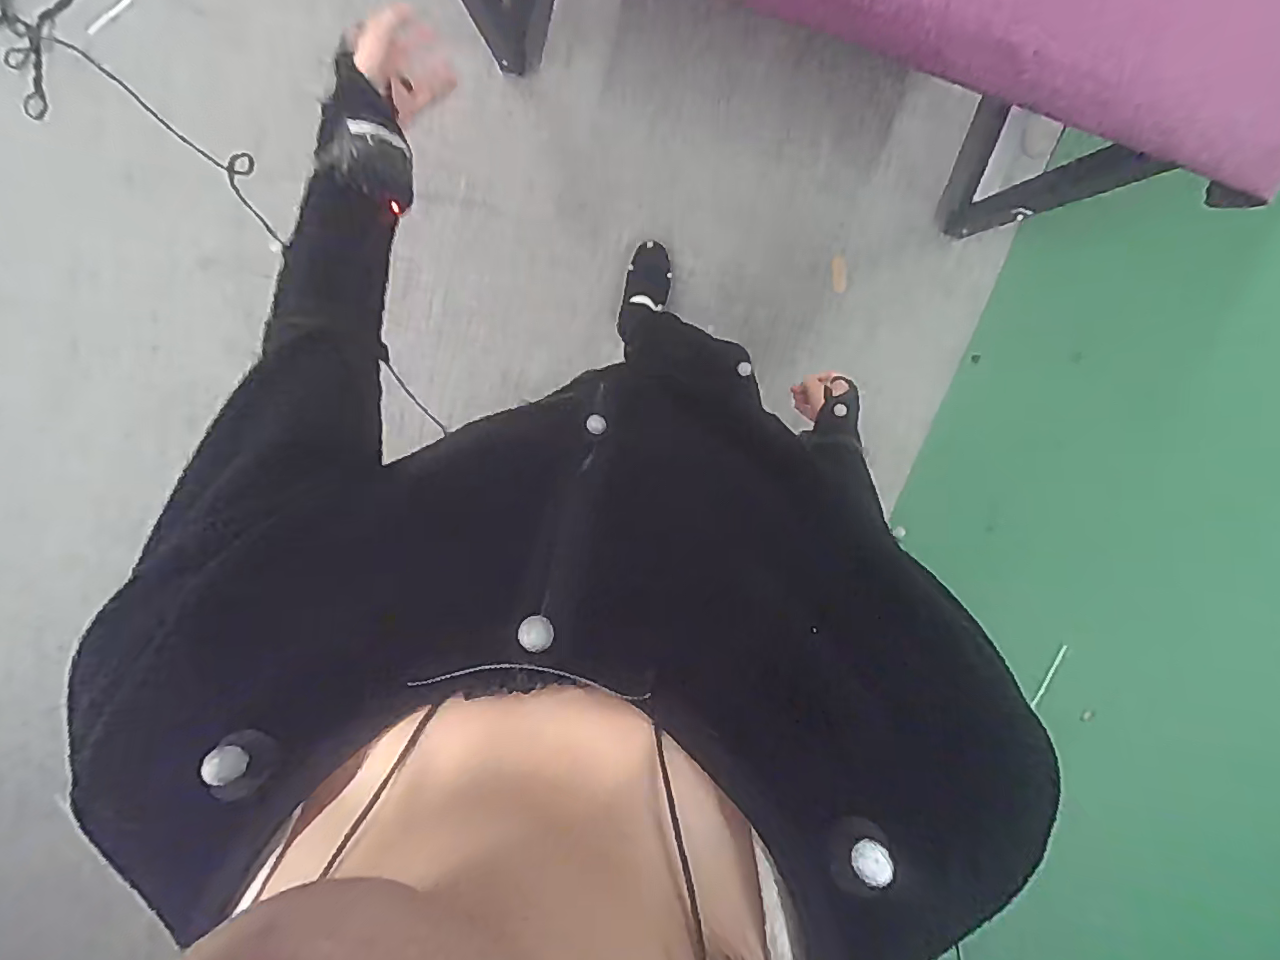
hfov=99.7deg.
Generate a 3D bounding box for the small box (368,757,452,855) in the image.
[{"bbox_3d":[-0.708,1.009,1.687,0.168,0.176,0.179,23,104,-4],"label":"small box"}]
